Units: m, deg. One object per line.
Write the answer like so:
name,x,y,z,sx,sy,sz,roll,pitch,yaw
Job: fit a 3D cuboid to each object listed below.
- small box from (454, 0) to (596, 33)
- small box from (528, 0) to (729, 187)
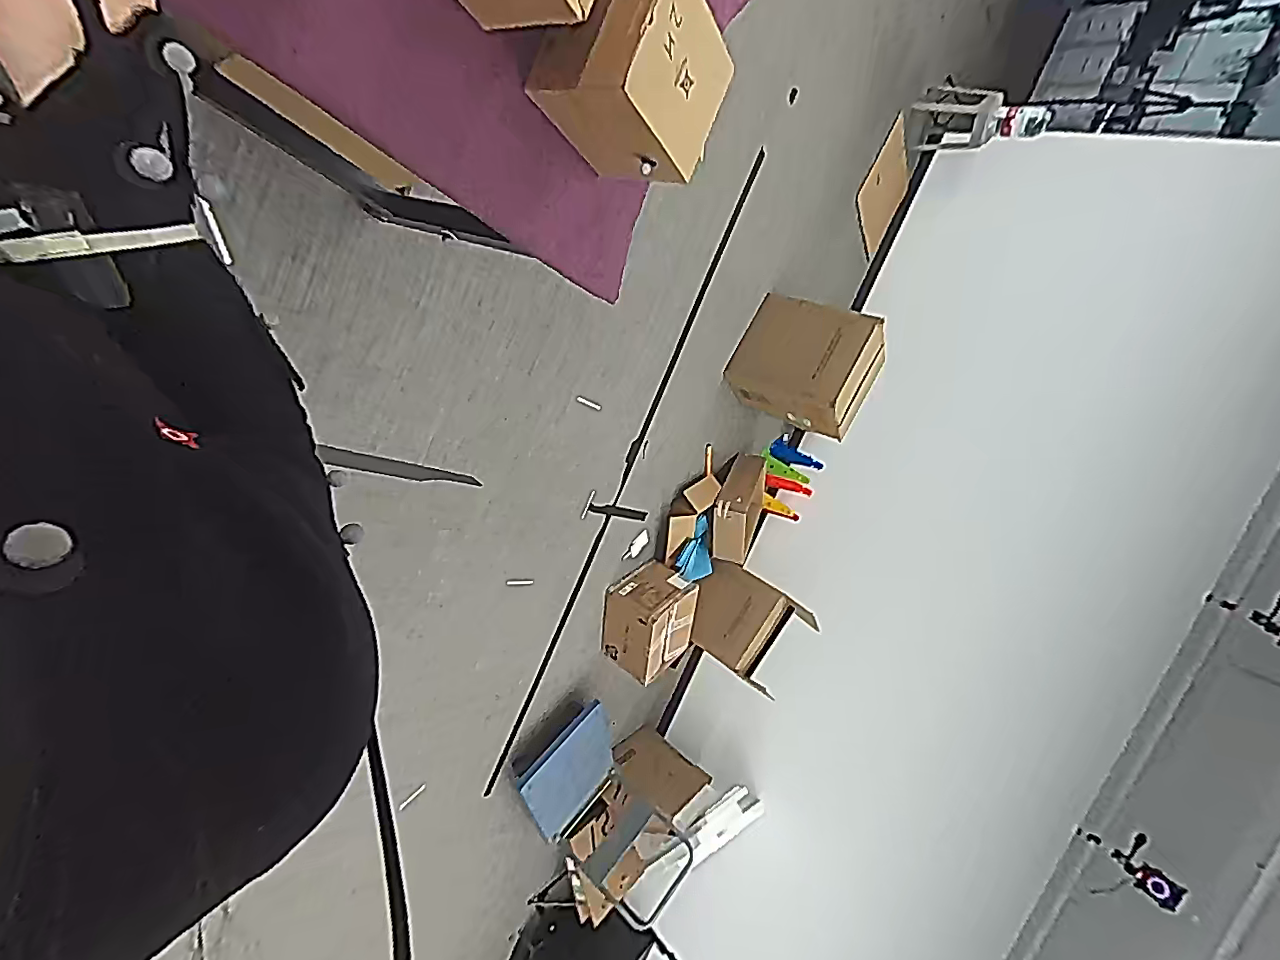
small box,-0.128,-0.575,0.505,0.179,0.176,0.168,19,96,-58
small box,-0.013,-0.525,0.716,0.179,0.176,0.168,18,95,-59
